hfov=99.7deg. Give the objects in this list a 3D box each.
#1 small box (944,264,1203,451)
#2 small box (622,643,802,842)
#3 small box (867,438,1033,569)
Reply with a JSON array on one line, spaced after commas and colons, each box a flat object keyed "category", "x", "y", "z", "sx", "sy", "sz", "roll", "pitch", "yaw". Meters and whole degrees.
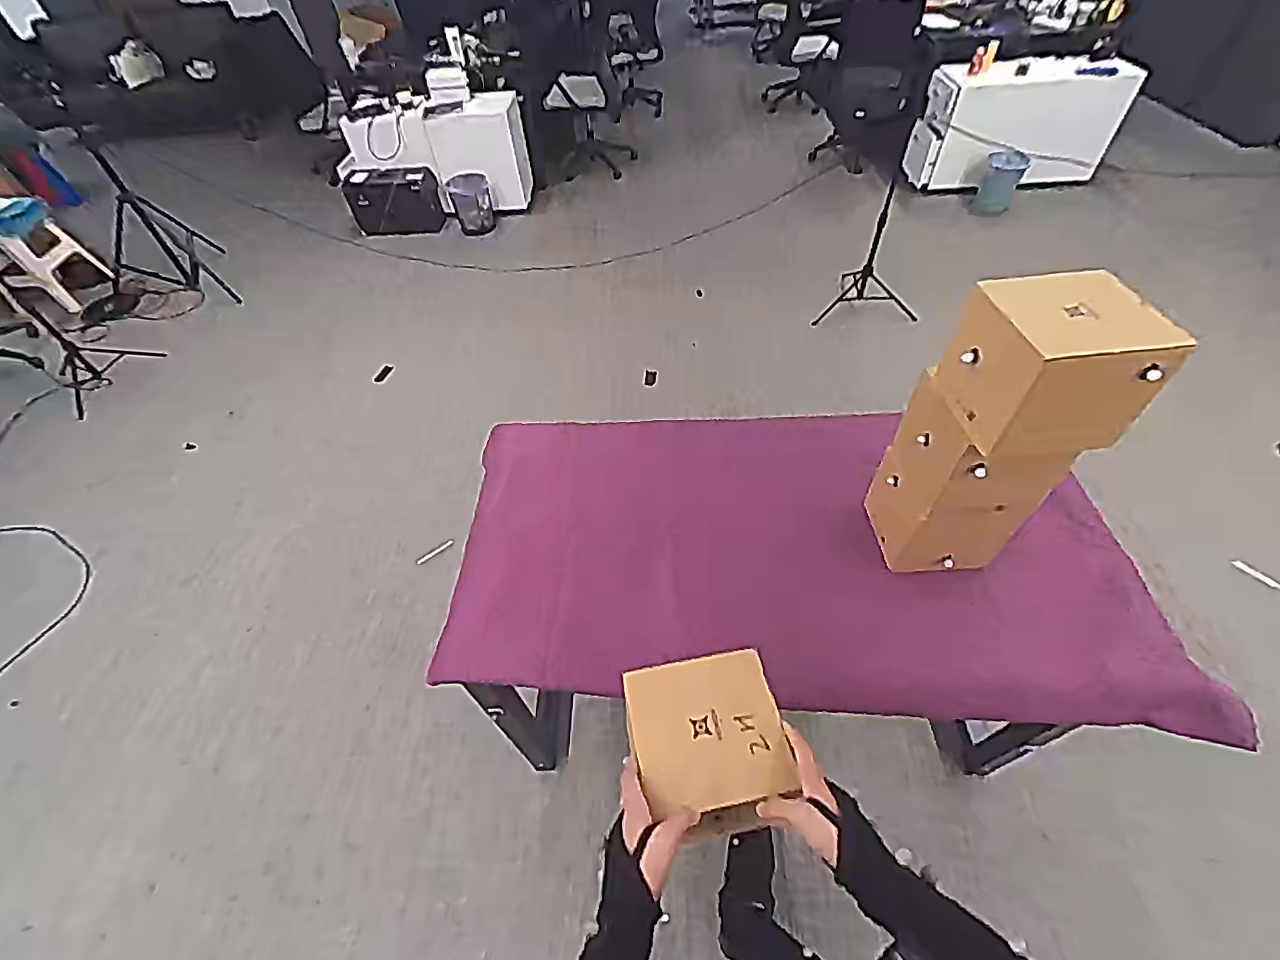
[{"category": "small box", "x": 0.524, "y": -0.152, "z": 0.695, "sx": 0.179, "sy": 0.176, "sz": 0.168, "roll": -6, "pitch": 50, "yaw": -1}, {"category": "small box", "x": 0.078, "y": 0.331, "z": 0.678, "sx": 0.179, "sy": 0.176, "sz": 0.168, "roll": -8, "pitch": 48, "yaw": -7}, {"category": "small box", "x": 0.532, "y": 0.045, "z": 0.958, "sx": 0.179, "sy": 0.176, "sz": 0.168, "roll": -3, "pitch": 49, "yaw": 1}]
